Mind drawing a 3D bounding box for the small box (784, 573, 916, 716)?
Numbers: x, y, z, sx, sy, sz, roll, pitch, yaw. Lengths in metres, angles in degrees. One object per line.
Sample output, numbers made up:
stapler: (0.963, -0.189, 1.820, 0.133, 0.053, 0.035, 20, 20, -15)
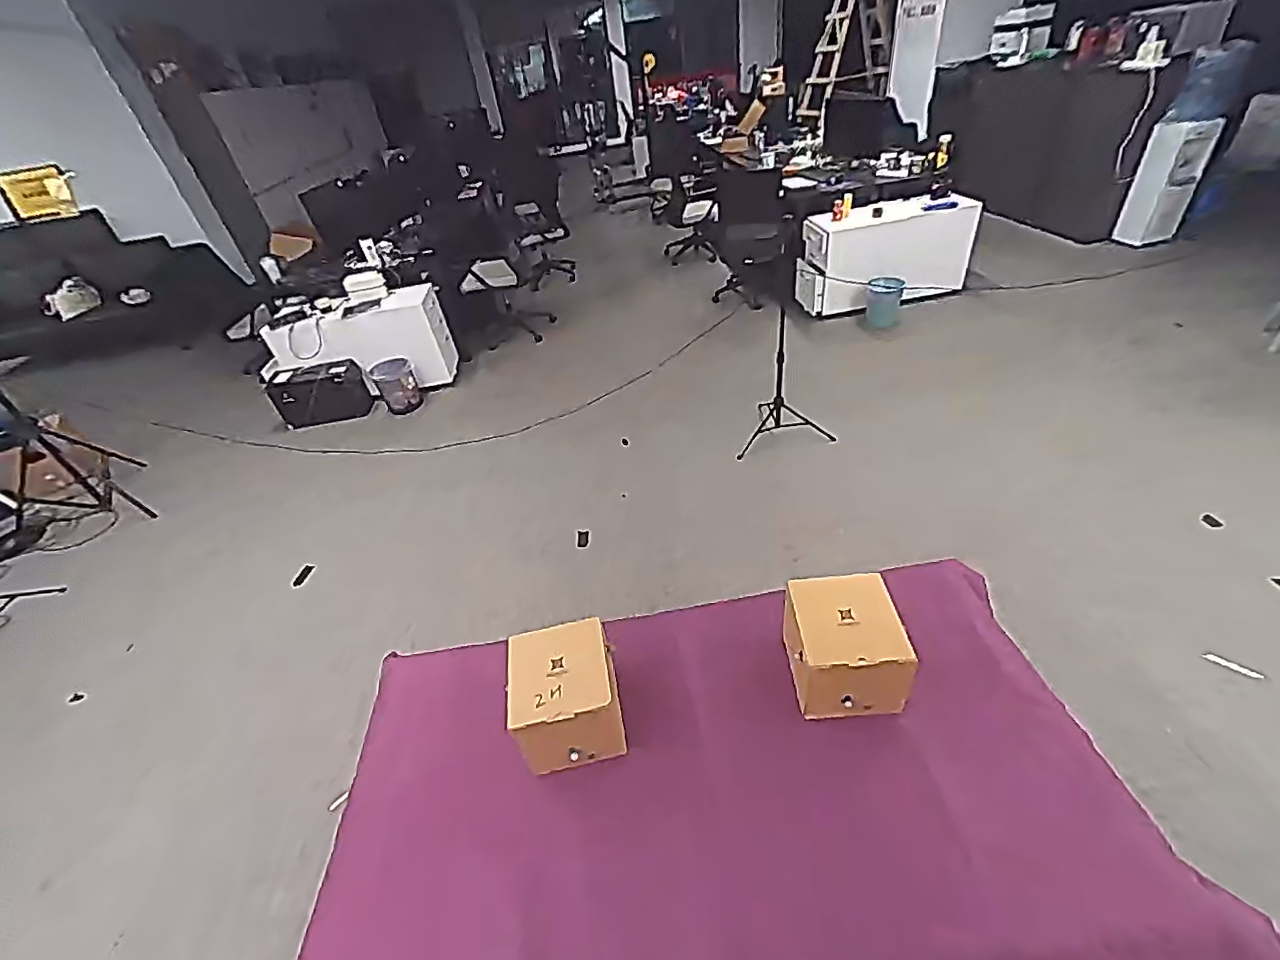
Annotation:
small box: (0.353, 0.288, 0.950, 0.168, 0.176, 0.179, -6, 40, 5)

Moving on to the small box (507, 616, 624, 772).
small box: (-0.127, 0.372, 0.944, 0.168, 0.176, 0.179, -12, 39, -3)
